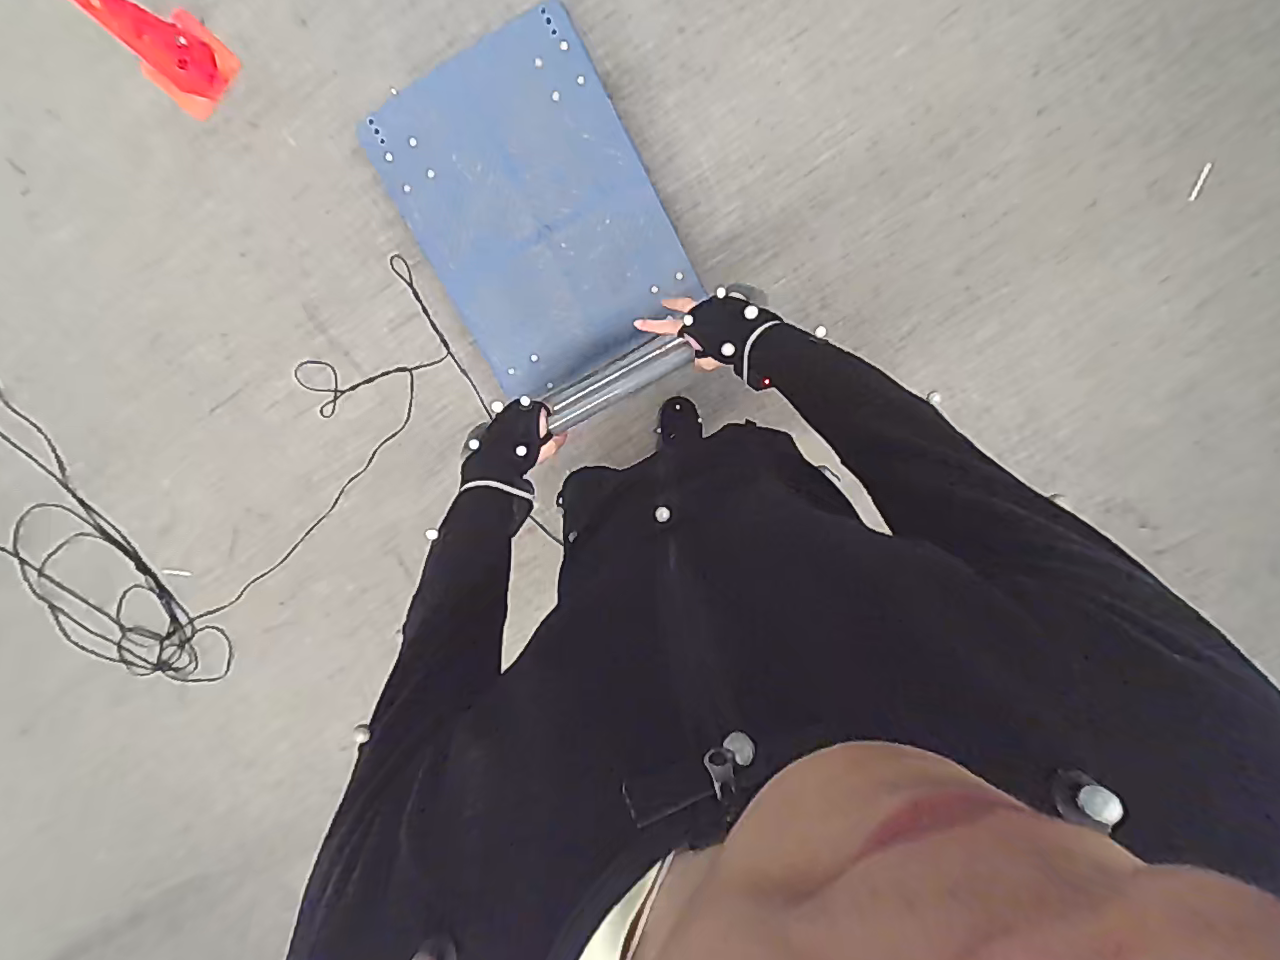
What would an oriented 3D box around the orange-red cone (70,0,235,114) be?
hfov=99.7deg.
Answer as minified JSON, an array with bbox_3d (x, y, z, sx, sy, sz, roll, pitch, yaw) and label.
[{"bbox_3d":[-1.200,-1.071,1.261,0.198,0.360,0.199,43,100,-6],"label":"orange-red cone"}]
